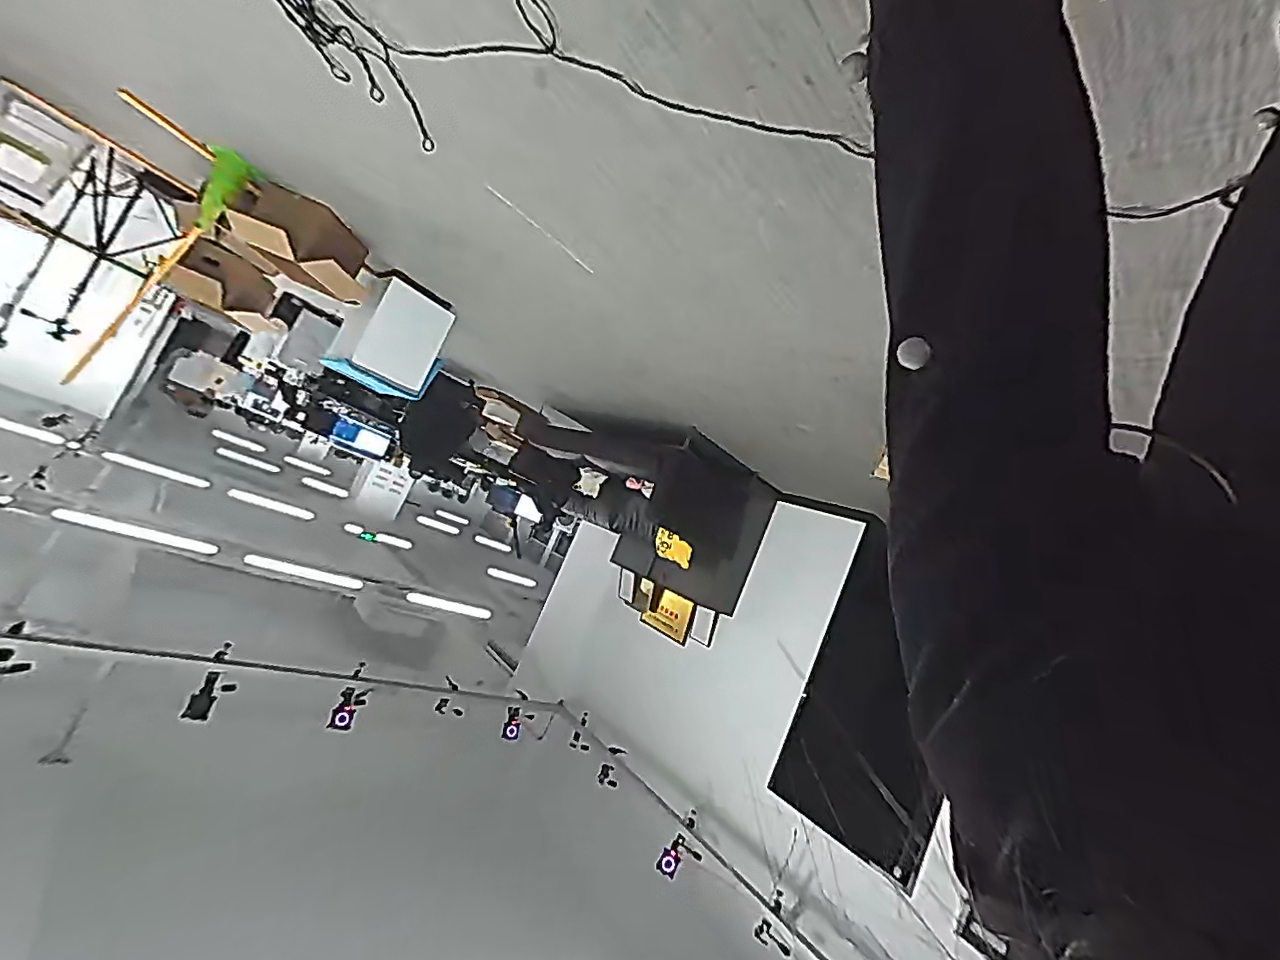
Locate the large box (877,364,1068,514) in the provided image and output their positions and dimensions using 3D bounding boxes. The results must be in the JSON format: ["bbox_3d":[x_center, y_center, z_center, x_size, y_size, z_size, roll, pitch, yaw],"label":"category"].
[{"bbox_3d":[1.036,-0.126,1.731,0.408,0.320,0.320,23,174,19],"label":"large box"}]
